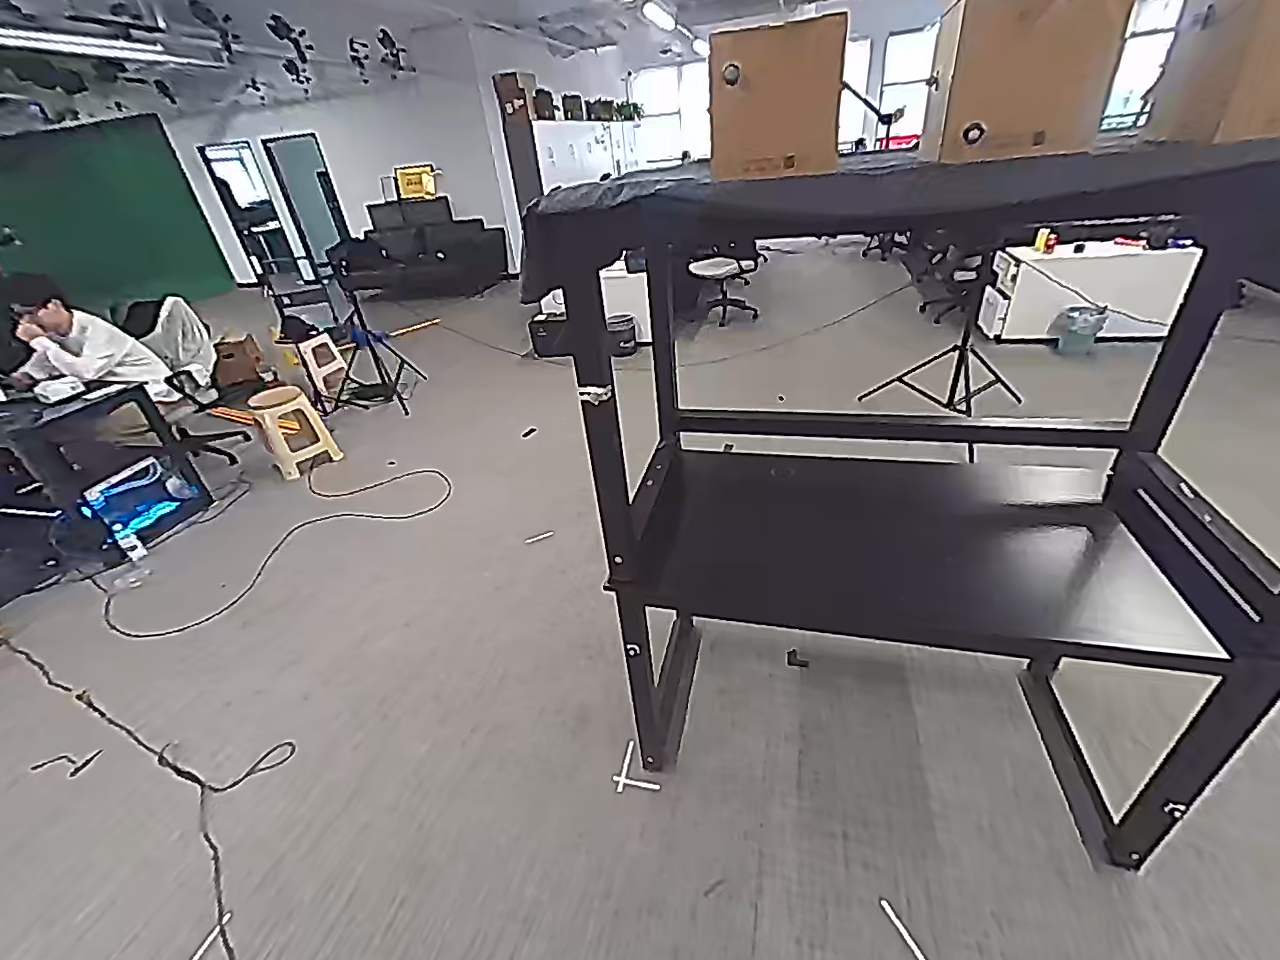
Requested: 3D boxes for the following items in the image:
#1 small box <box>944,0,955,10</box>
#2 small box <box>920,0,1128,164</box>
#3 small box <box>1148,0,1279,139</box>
[{"bbox_3d":[0.453,-0.644,0.598,0.168,0.176,0.179,3,32,17],"label":"small box"},{"bbox_3d":[0.465,-0.504,0.679,0.168,0.176,0.179,4,31,15],"label":"small box"},{"bbox_3d":[0.730,-0.489,0.605,0.168,0.176,0.179,3,32,17],"label":"small box"}]
